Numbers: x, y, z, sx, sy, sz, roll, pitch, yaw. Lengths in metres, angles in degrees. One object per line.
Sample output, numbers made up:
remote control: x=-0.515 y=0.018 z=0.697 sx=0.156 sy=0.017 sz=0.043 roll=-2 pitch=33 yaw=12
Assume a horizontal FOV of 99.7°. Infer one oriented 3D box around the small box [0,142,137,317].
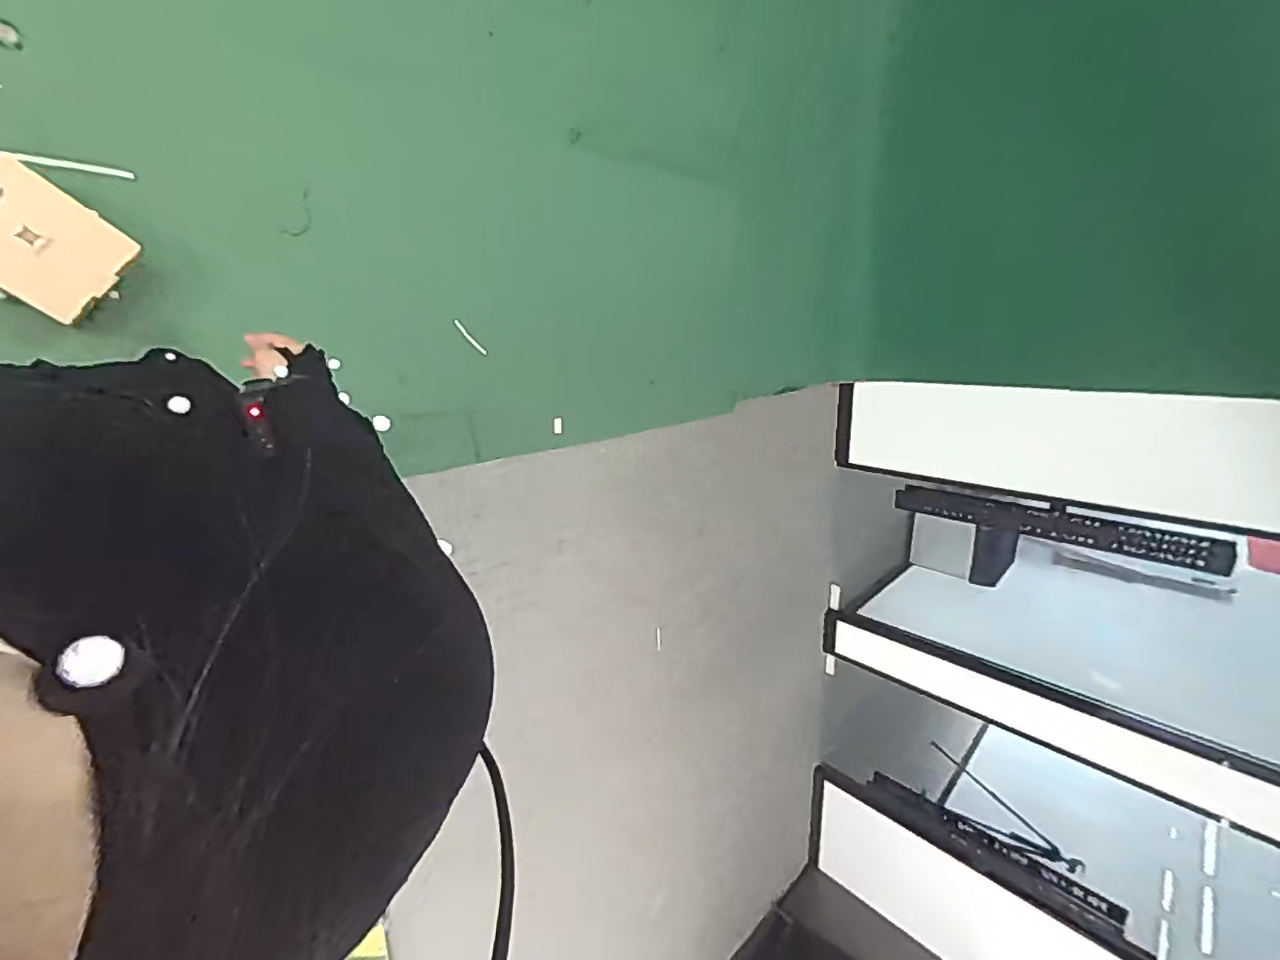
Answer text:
small box: x=-0.937 y=-0.375 z=0.835 sx=0.179 sy=0.176 sz=0.168 roll=44 pitch=69 yaw=-43
